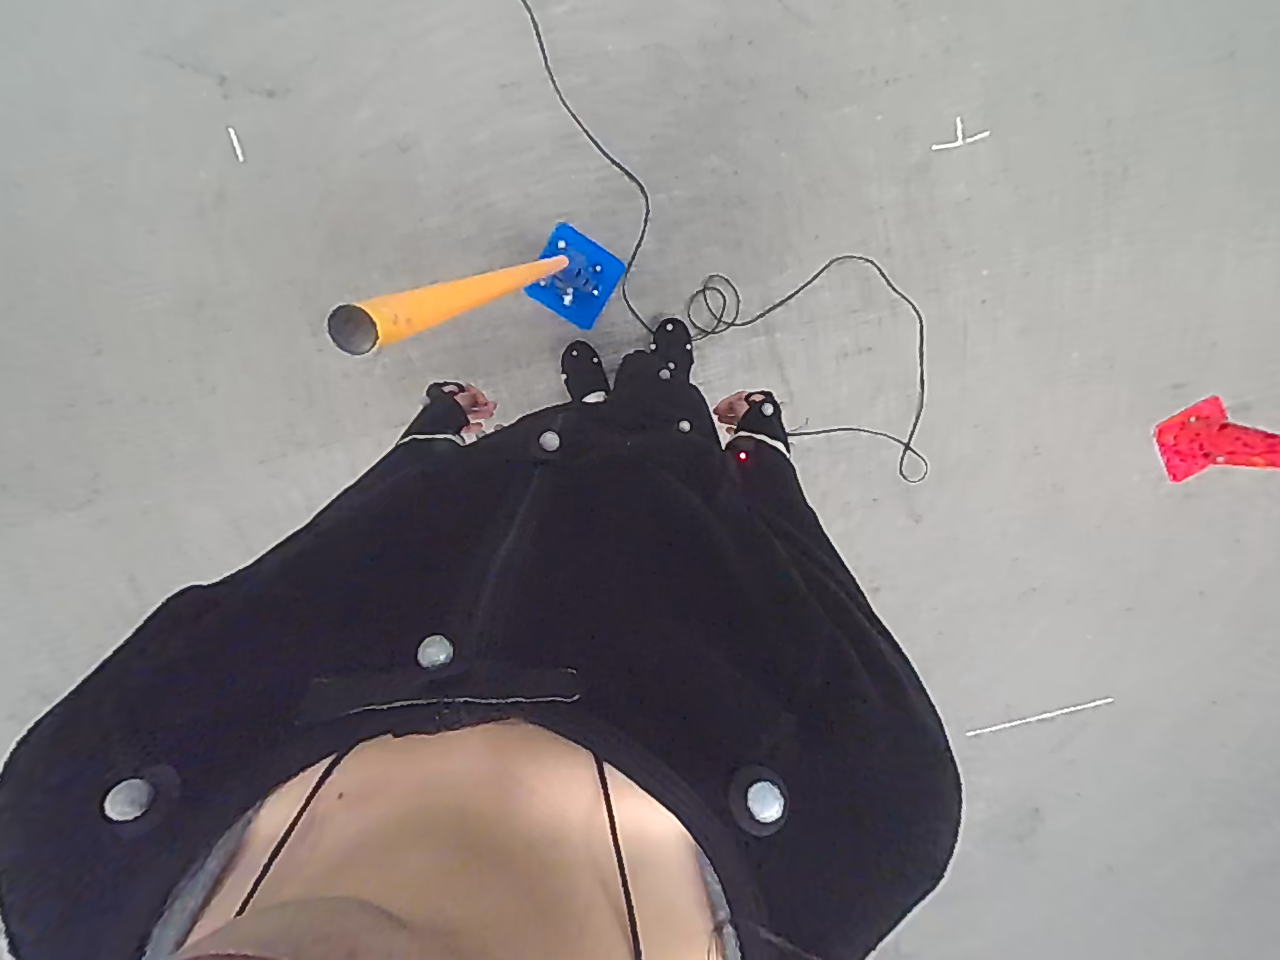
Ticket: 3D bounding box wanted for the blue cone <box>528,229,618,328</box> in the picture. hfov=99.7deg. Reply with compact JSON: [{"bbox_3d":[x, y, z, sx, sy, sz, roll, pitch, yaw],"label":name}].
[{"bbox_3d":[-0.159,-0.454,1.196,0.192,0.380,0.193,30,103,-11],"label":"blue cone"}]
